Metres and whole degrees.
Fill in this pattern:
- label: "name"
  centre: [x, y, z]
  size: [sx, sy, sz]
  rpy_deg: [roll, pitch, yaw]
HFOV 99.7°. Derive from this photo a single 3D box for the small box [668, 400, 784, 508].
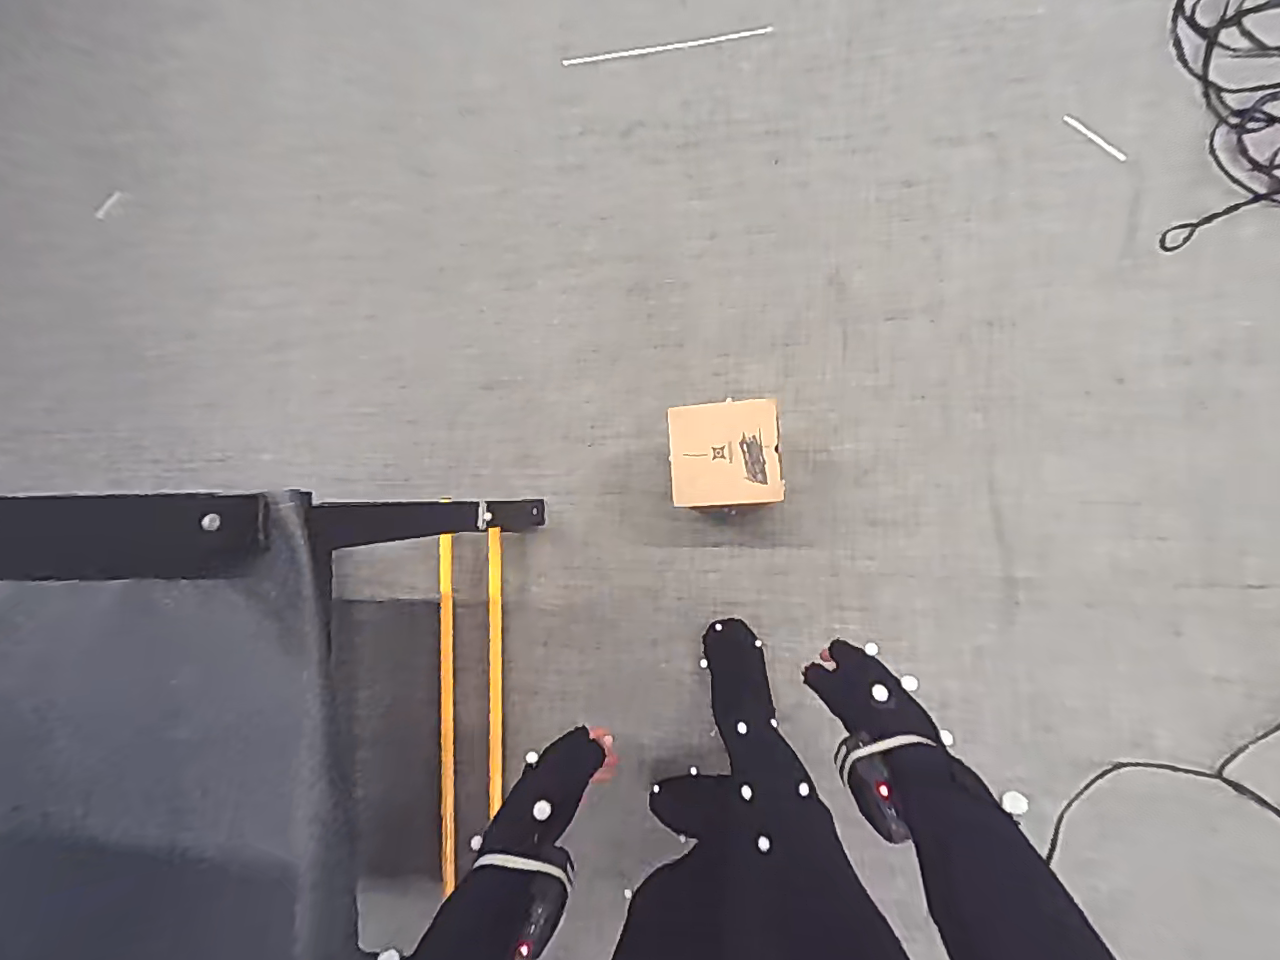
- label: "small box"
  centre: [0.148, -0.040, 0.933]
  size: [0.179, 0.176, 0.168]
  rpy_deg: [-4, 88, 12]
